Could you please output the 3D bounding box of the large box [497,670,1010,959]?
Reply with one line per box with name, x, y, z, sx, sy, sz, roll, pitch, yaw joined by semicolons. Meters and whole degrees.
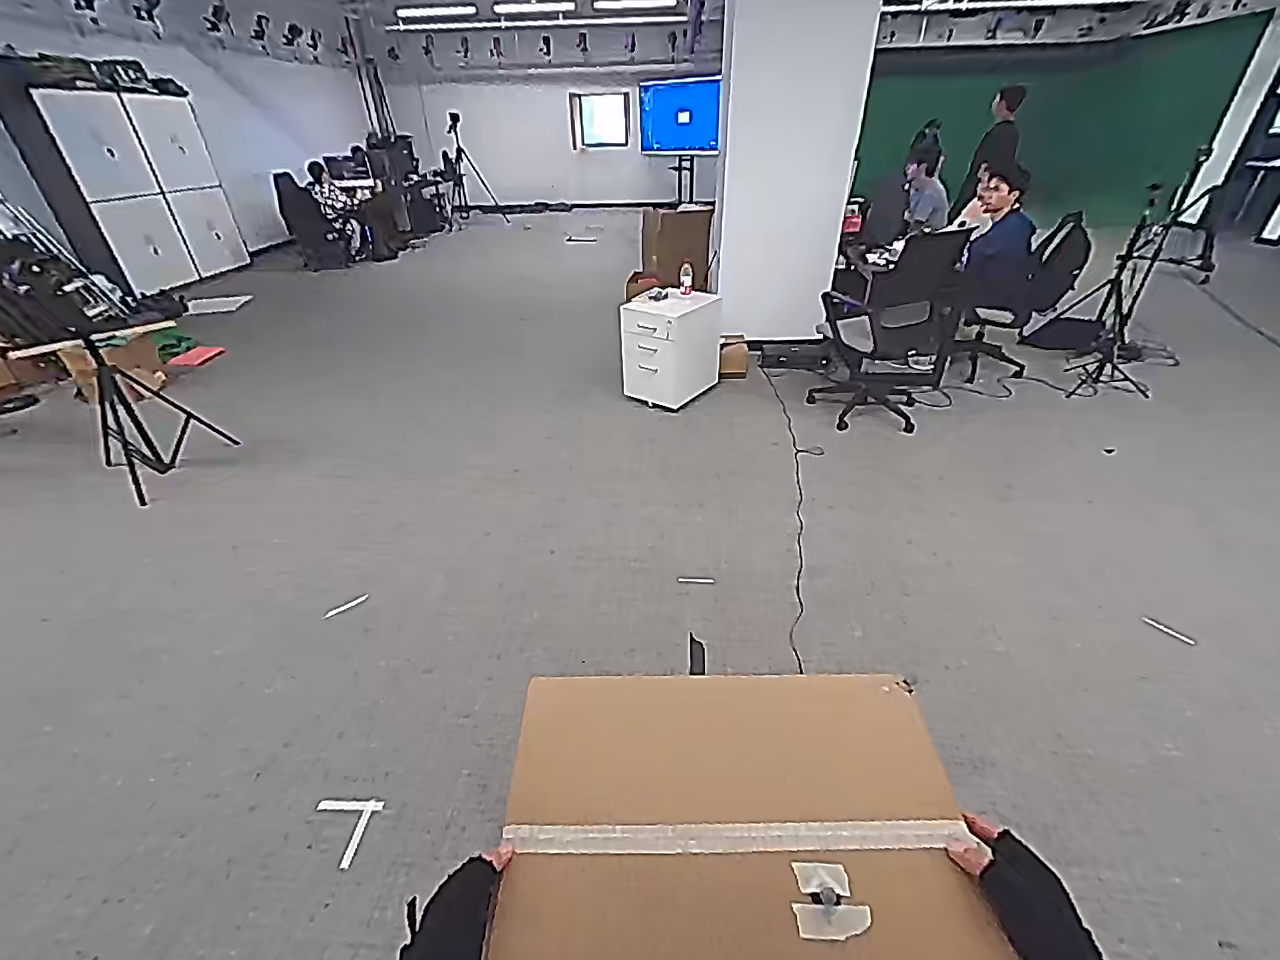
large box;0.087;0.428;0.581;0.408;0.320;0.320;-1;39;1
